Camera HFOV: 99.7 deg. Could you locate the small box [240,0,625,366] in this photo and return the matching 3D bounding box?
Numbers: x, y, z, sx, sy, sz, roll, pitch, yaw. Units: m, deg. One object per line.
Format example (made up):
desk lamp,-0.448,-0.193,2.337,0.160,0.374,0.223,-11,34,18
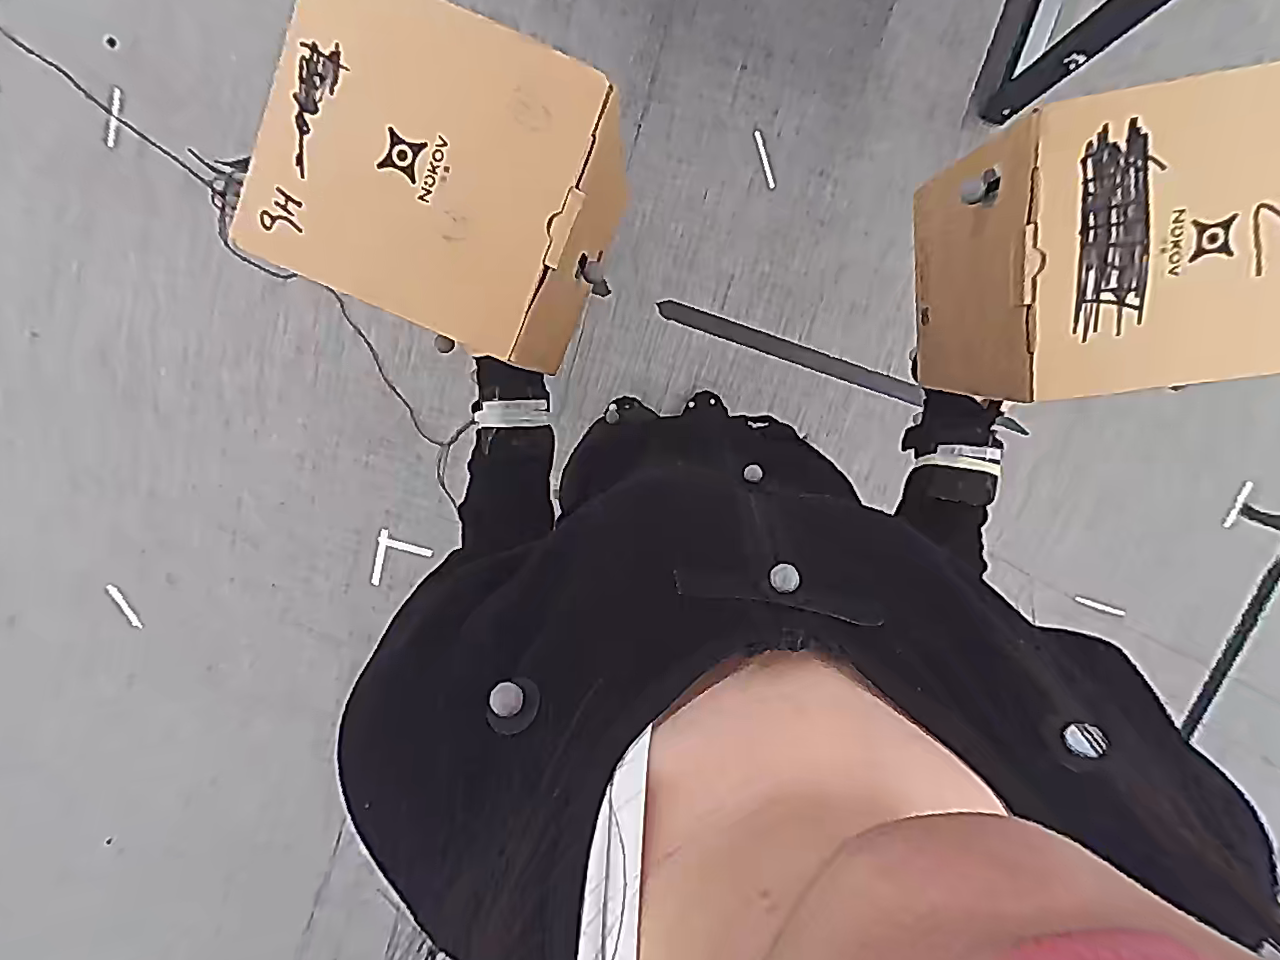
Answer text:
small box,-0.118,-0.189,0.380,0.179,0.176,0.168,22,98,-4
